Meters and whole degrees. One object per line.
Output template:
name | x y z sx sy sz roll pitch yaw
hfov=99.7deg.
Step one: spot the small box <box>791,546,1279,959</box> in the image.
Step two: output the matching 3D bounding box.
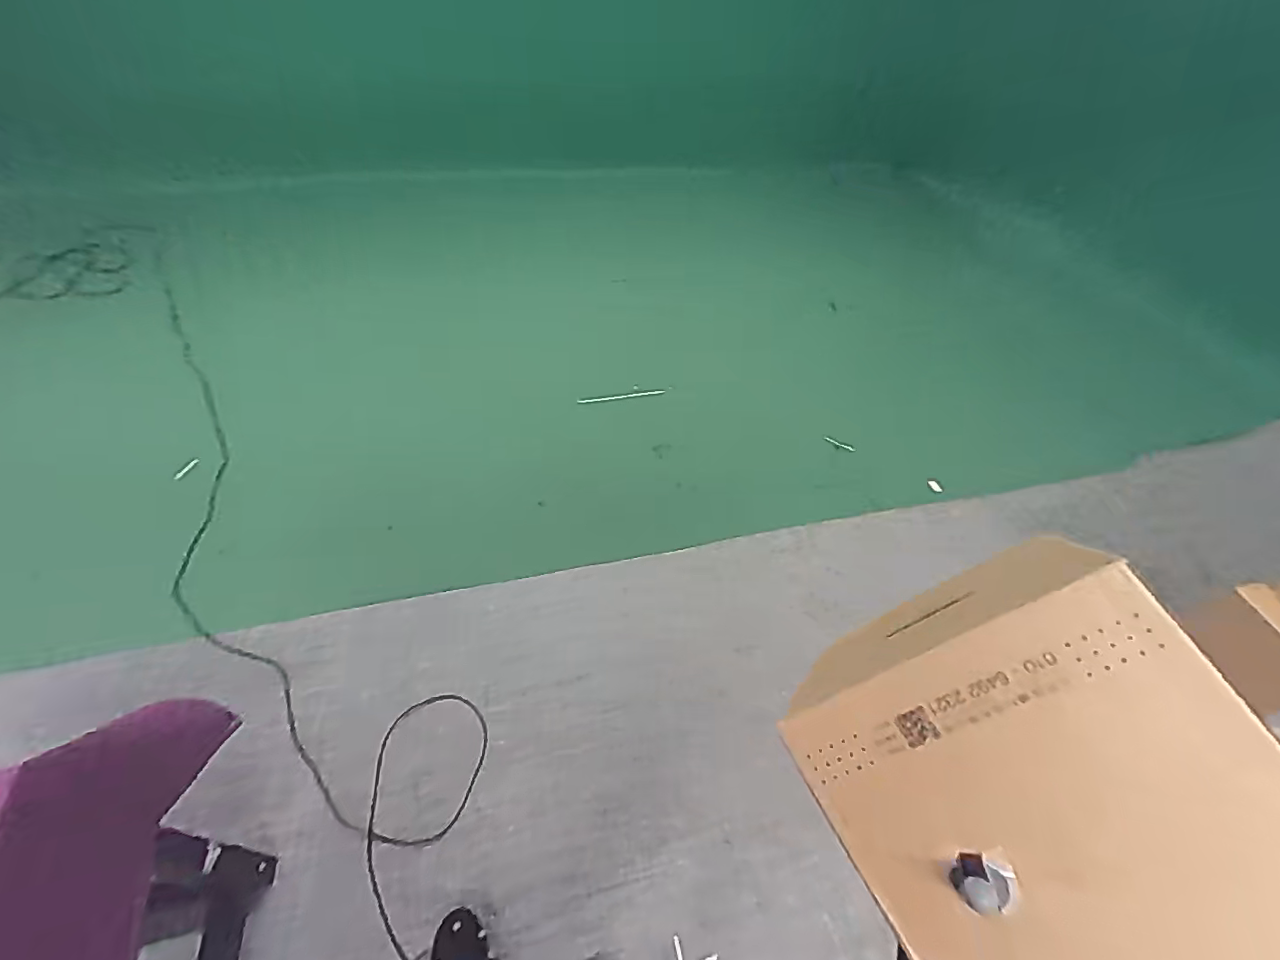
small box | 0.206 0.150 0.295 0.176 0.168 0.179 60 23 16
